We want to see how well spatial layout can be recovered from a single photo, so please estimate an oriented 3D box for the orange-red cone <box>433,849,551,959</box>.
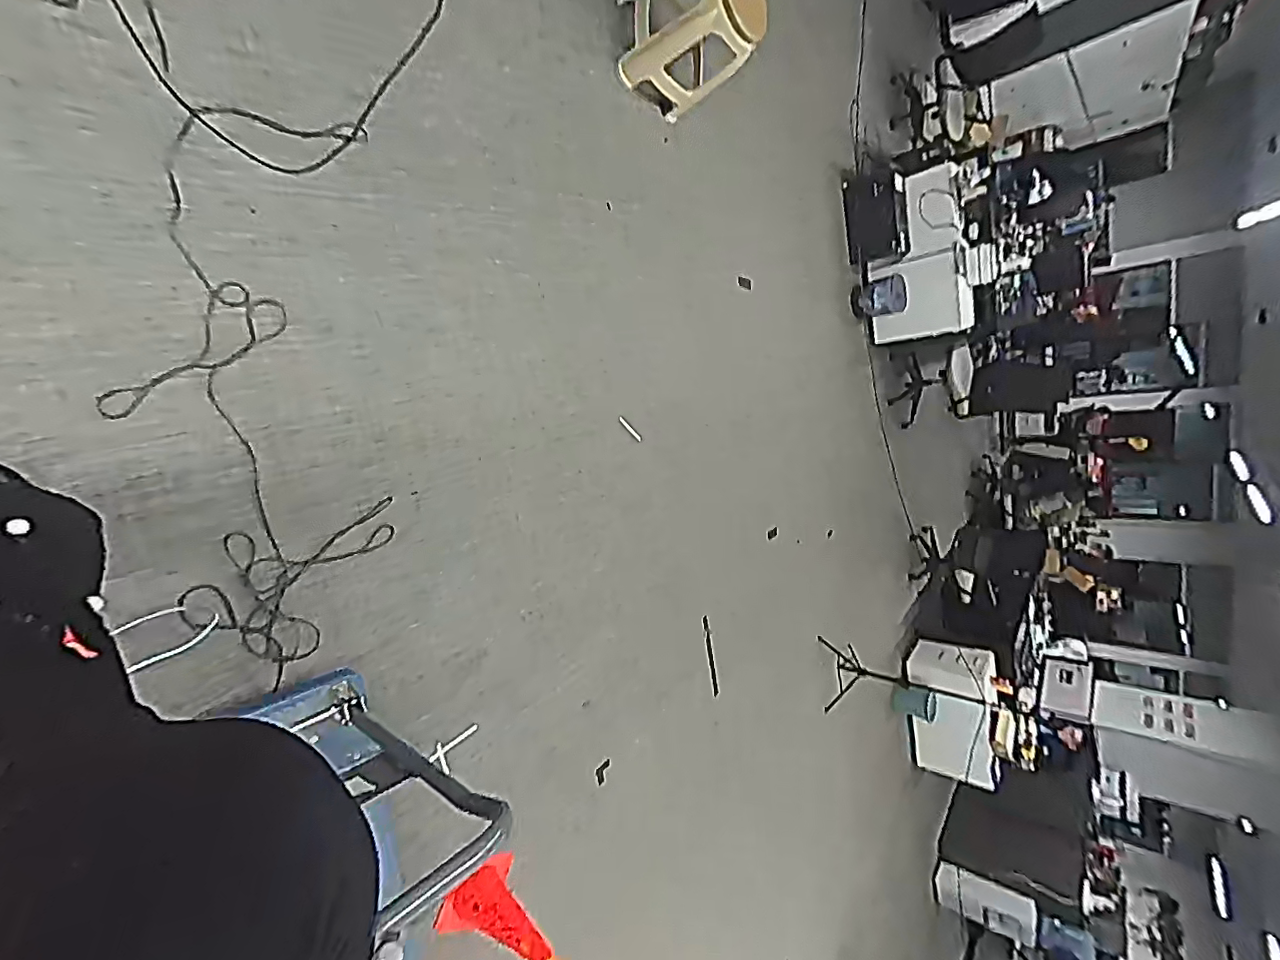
[{"bbox_3d":[-0.362,1.197,1.462,0.198,0.360,0.199,39,63,-40],"label":"orange-red cone"}]
